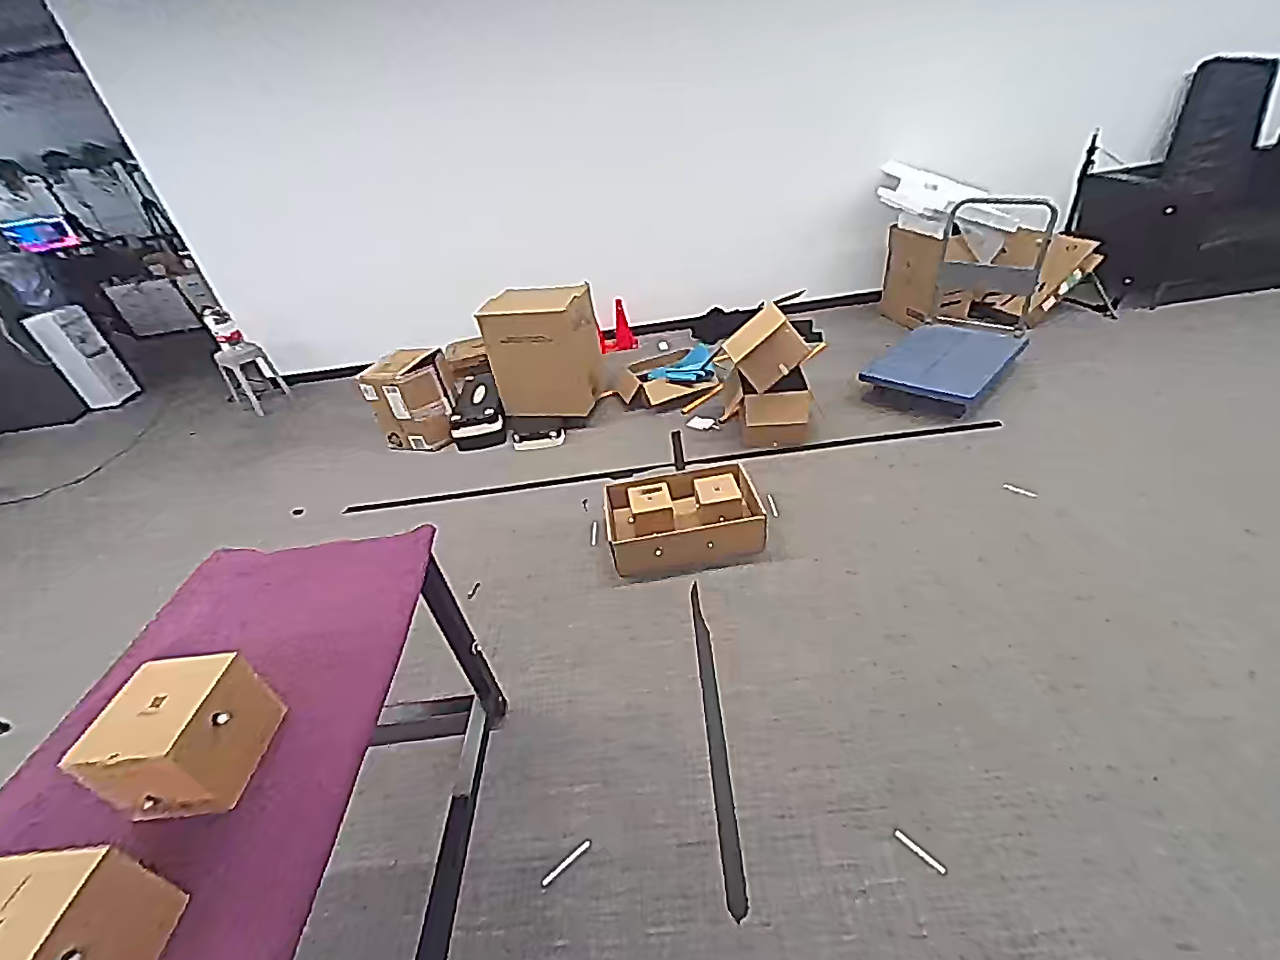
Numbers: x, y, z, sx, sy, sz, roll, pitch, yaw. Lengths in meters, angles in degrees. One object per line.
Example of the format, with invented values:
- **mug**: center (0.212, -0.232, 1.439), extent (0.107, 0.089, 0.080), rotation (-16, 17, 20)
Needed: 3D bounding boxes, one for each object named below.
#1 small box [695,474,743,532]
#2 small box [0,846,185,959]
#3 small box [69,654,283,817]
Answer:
- **small box**: center (0.327, 0.103, 2.243), extent (0.168, 0.176, 0.179), rotation (-9, 34, 0)
- **small box**: center (-0.705, 0.571, 0.639), extent (0.168, 0.176, 0.179), rotation (-7, 34, 3)
- **small box**: center (-0.722, 0.411, 0.874), extent (0.168, 0.176, 0.179), rotation (-7, 35, 4)
